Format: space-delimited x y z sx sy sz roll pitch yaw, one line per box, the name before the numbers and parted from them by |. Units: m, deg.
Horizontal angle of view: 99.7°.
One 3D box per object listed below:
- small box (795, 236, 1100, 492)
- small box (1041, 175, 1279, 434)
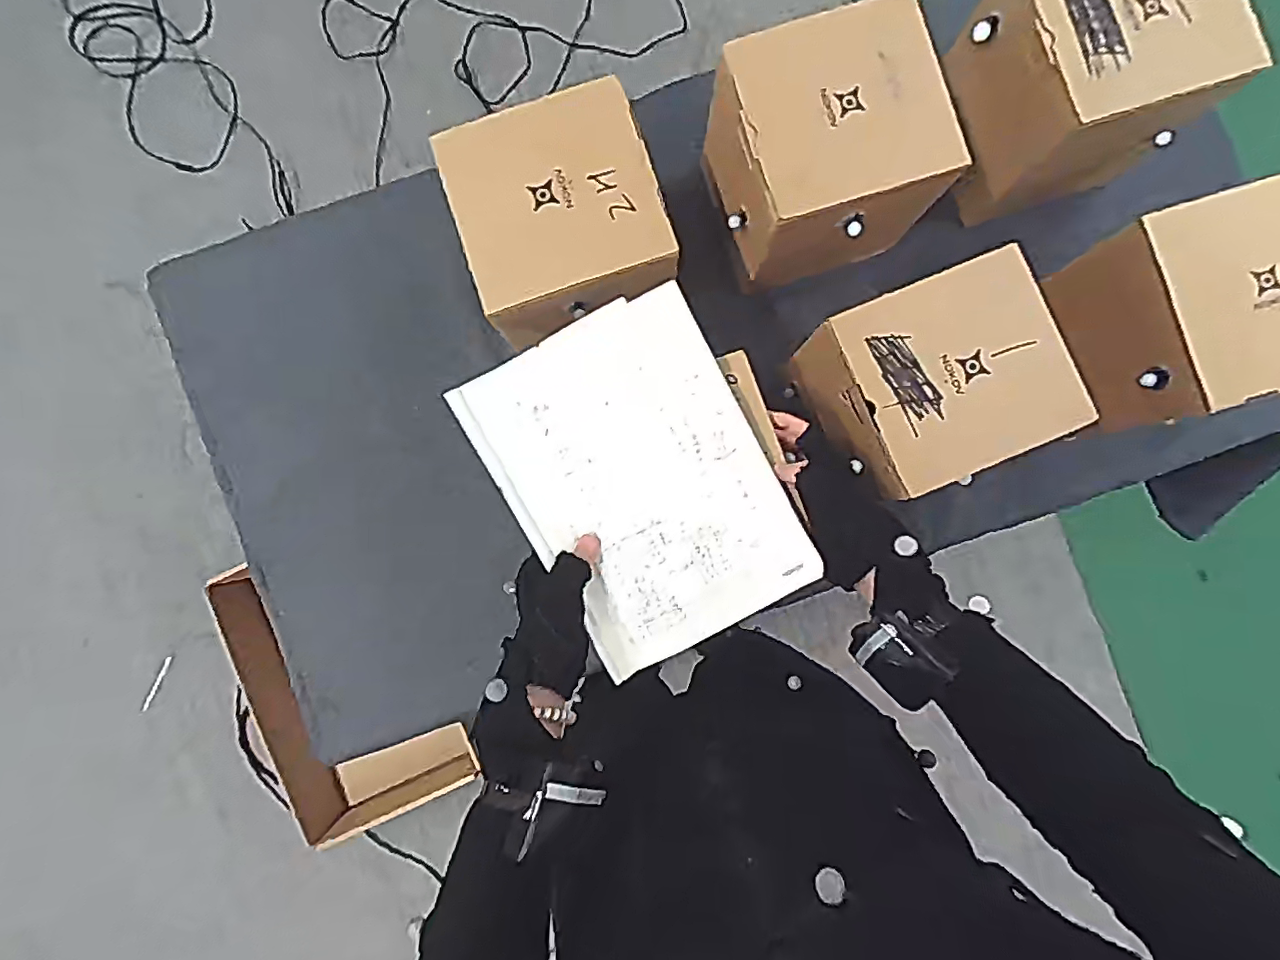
small box | 0.268 -0.093 0.524 0.179 0.176 0.168 -22 87 -1
small box | 0.522 -0.157 0.527 0.168 0.176 0.179 -16 87 0
